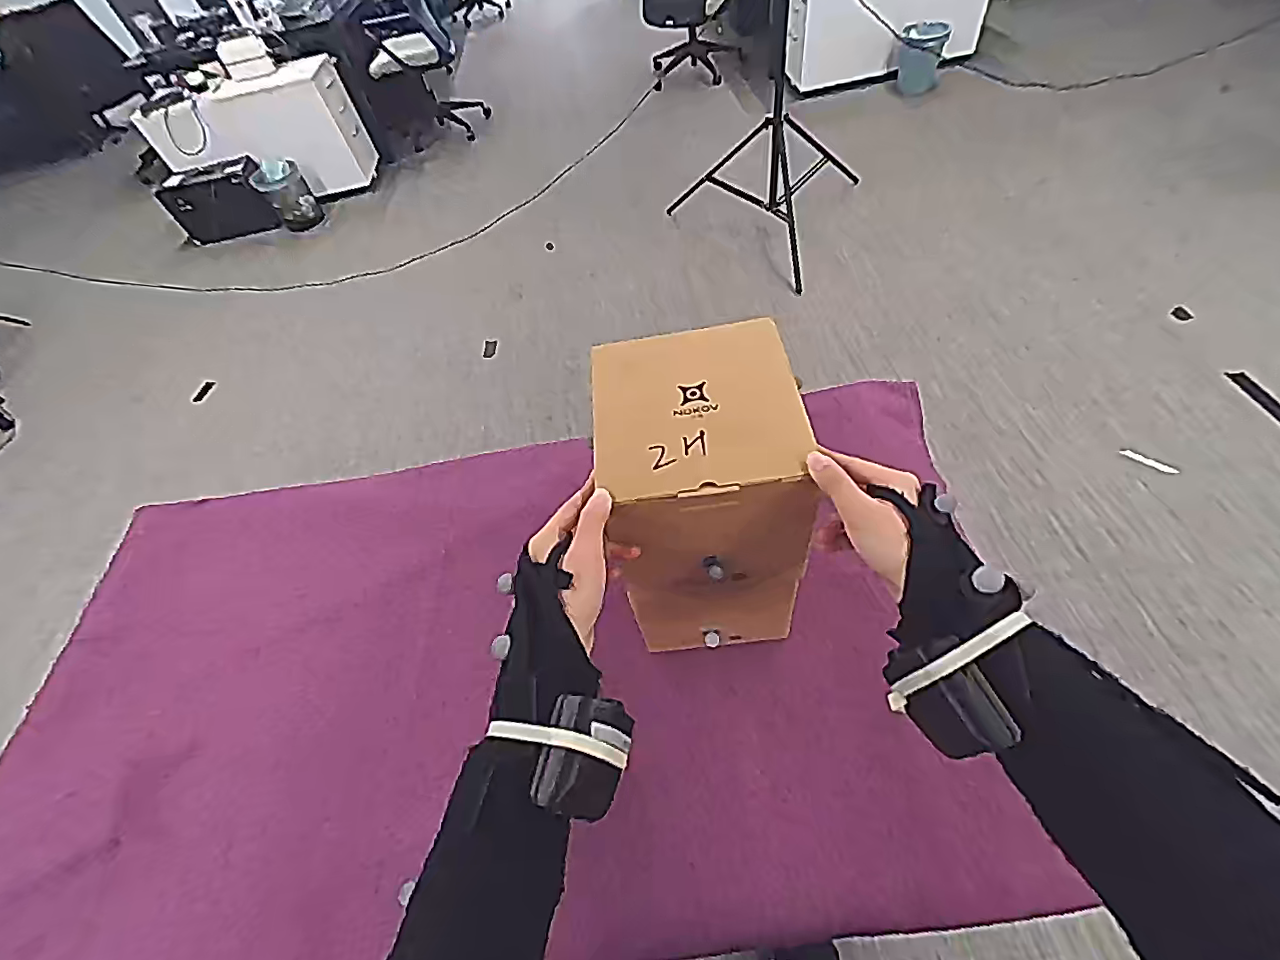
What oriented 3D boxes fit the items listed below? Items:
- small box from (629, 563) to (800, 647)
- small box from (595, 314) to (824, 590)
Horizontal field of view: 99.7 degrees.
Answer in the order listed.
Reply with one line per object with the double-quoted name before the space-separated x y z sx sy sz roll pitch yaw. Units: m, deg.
"small box" 0.078 0.076 0.628 0.168 0.176 0.179 -8 54 5
"small box" 0.056 -0.020 0.494 0.168 0.176 0.179 -8 53 6
